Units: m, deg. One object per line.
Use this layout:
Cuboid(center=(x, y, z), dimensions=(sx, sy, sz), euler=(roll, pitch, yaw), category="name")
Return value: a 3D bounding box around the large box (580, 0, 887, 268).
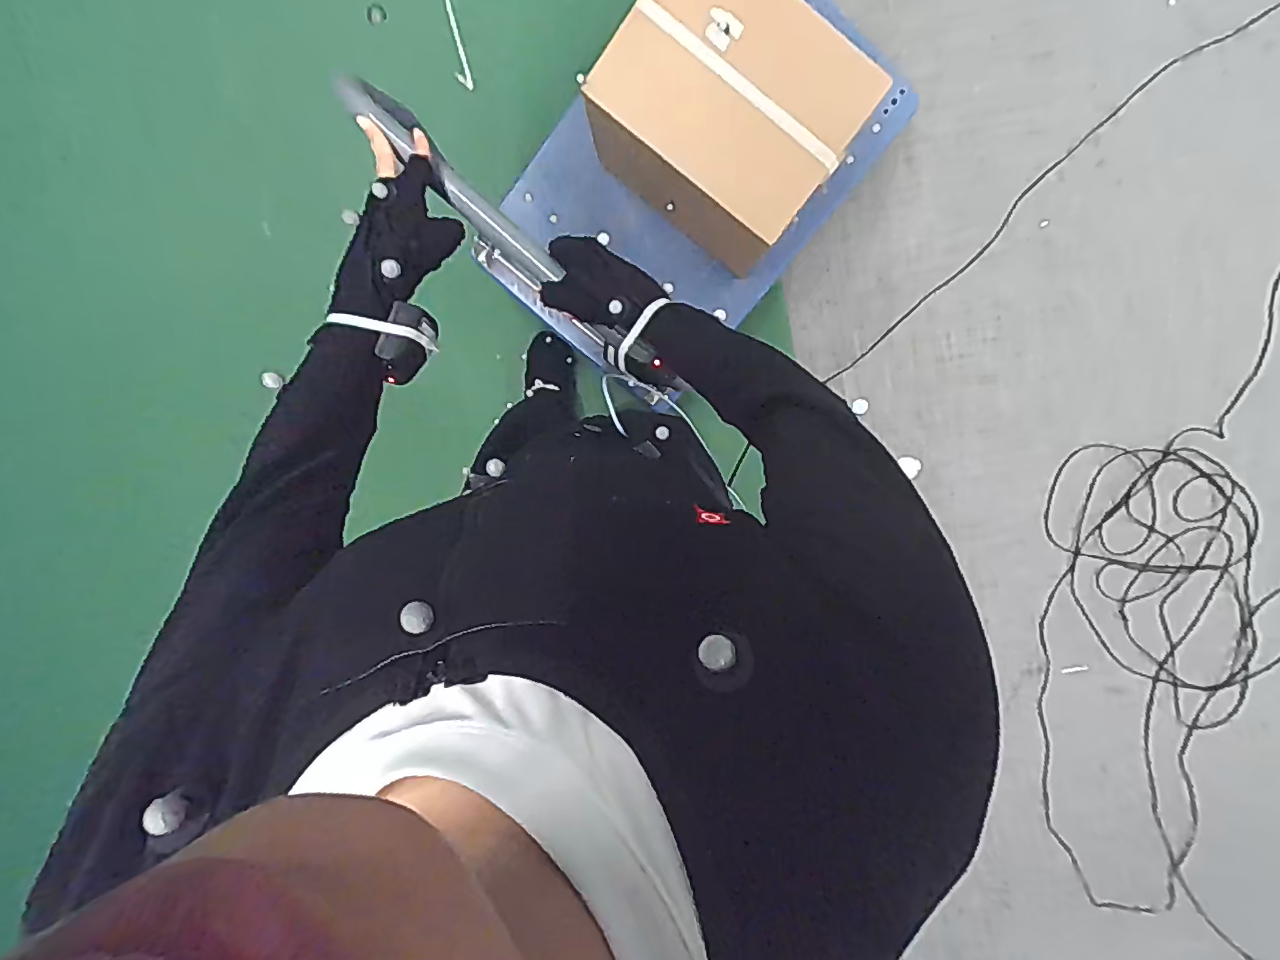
Cuboid(center=(0.156, -0.671, 1.017), dimensions=(0.408, 0.320, 0.320), euler=(37, 99, -5), category="large box")
